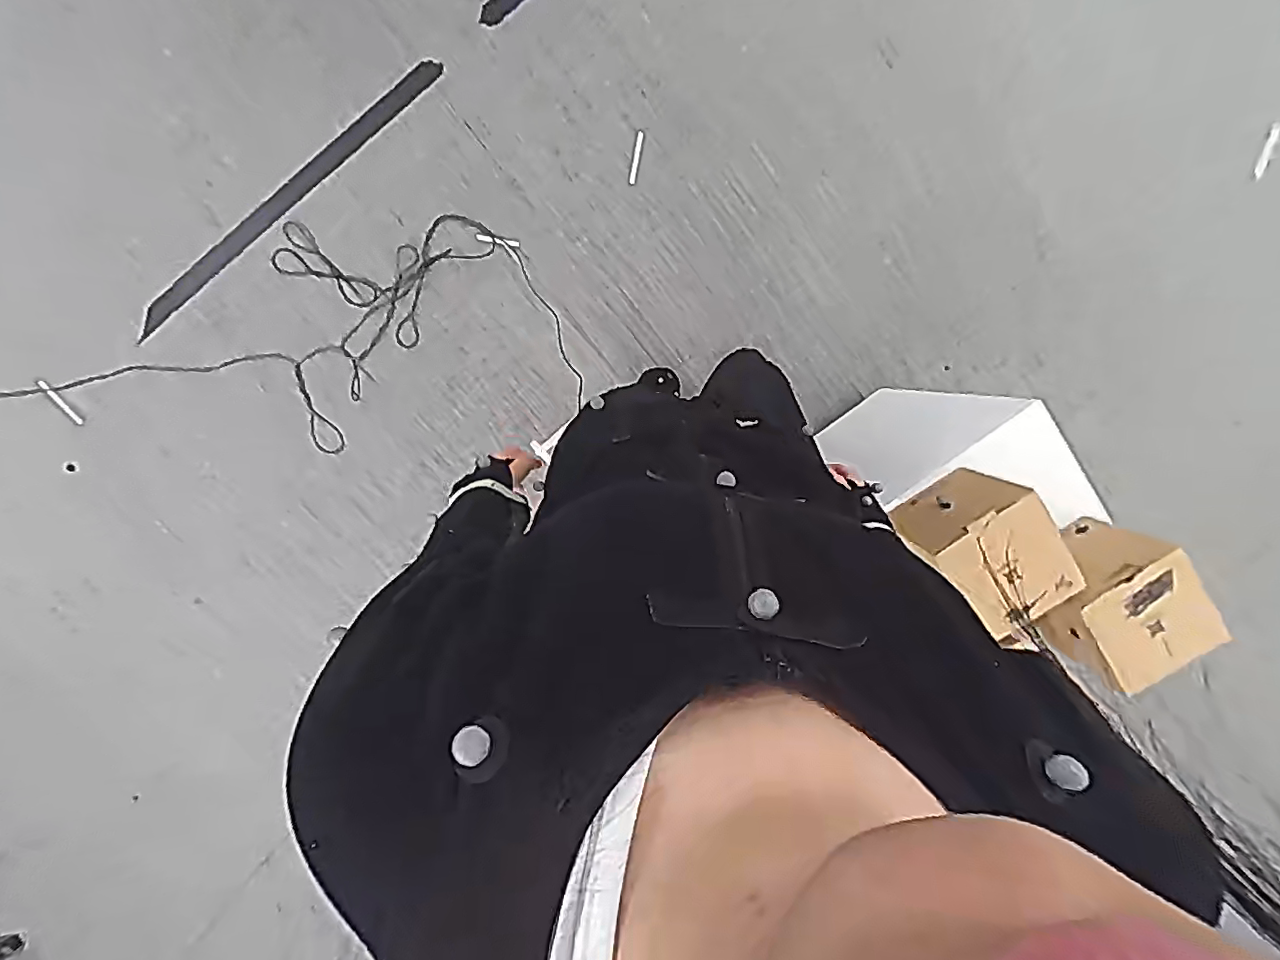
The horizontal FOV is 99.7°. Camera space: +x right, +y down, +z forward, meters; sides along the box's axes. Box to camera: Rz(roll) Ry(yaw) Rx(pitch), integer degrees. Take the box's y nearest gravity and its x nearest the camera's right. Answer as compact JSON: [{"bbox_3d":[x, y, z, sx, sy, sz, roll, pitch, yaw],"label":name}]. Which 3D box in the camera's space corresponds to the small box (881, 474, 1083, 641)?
[{"bbox_3d":[0.510,0.106,0.834,0.168,0.176,0.179,-34,101,5],"label":"small box"}]

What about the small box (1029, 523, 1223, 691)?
[{"bbox_3d":[0.731,0.186,0.857,0.168,0.176,0.179,-35,101,6],"label":"small box"}]
